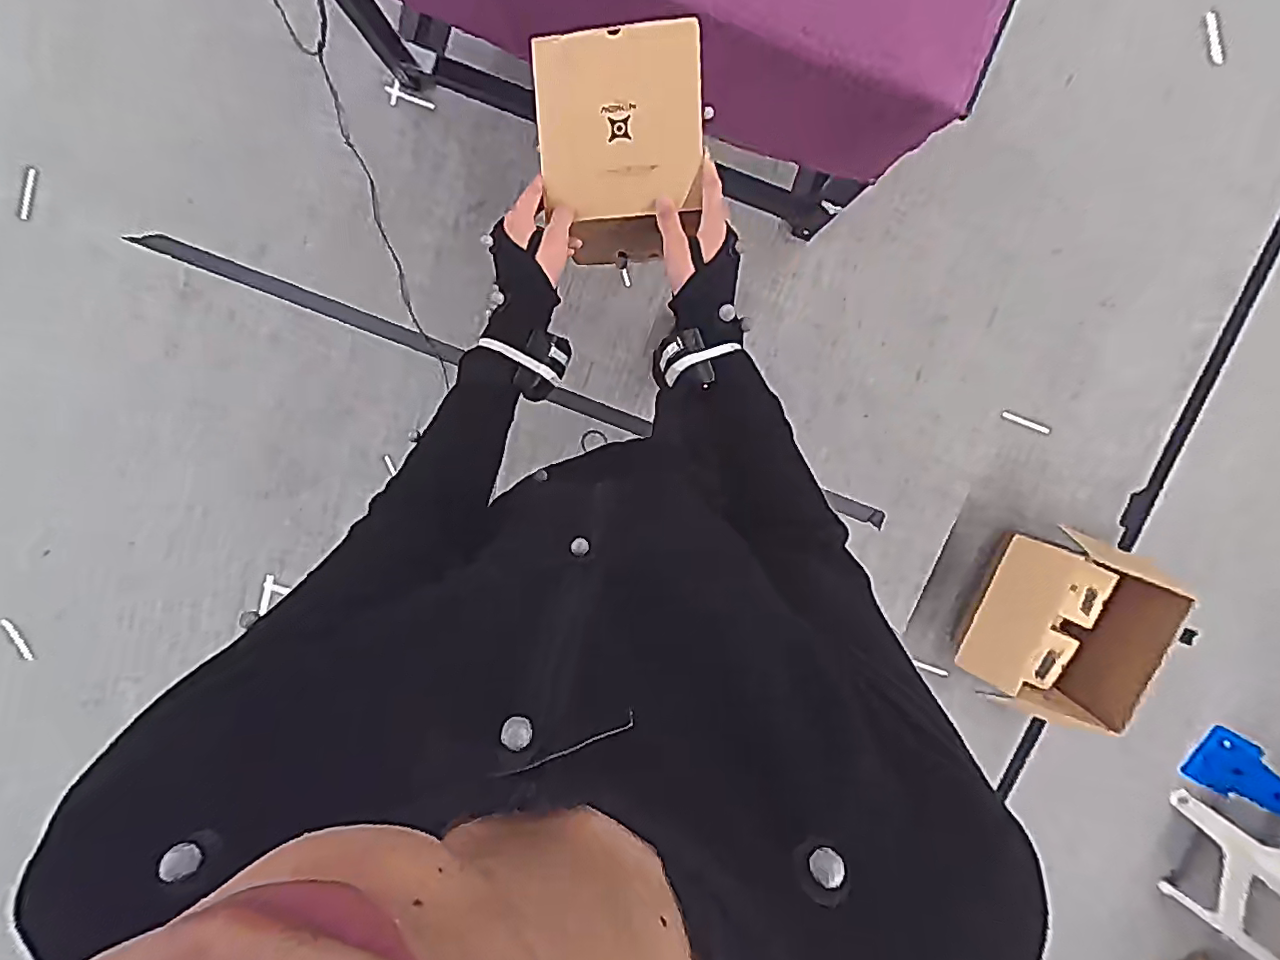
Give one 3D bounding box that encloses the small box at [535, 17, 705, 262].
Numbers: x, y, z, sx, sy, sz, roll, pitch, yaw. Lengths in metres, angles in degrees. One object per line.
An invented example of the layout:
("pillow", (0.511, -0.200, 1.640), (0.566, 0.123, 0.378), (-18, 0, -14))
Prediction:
("small box", (-0.014, -0.366, 0.613), (0.168, 0.176, 0.179), (-2, 96, 6))
